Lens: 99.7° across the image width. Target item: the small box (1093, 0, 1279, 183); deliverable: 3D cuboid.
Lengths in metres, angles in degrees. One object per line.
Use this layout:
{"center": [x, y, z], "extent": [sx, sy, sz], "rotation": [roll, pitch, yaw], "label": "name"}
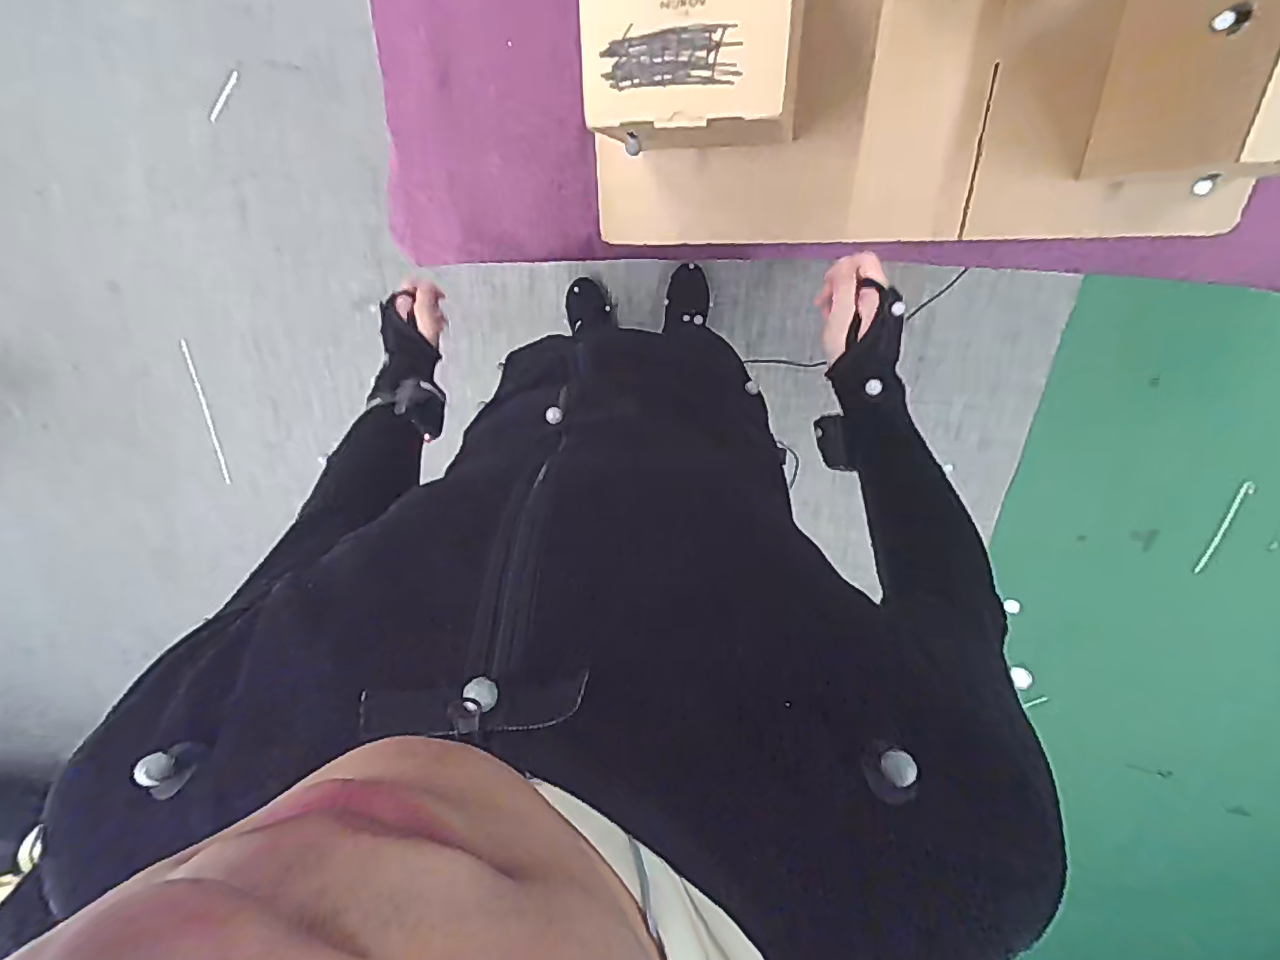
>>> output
{"center": [0.526, -0.347, 0.437], "extent": [0.168, 0.176, 0.179], "rotation": [0, 115, 1], "label": "small box"}
